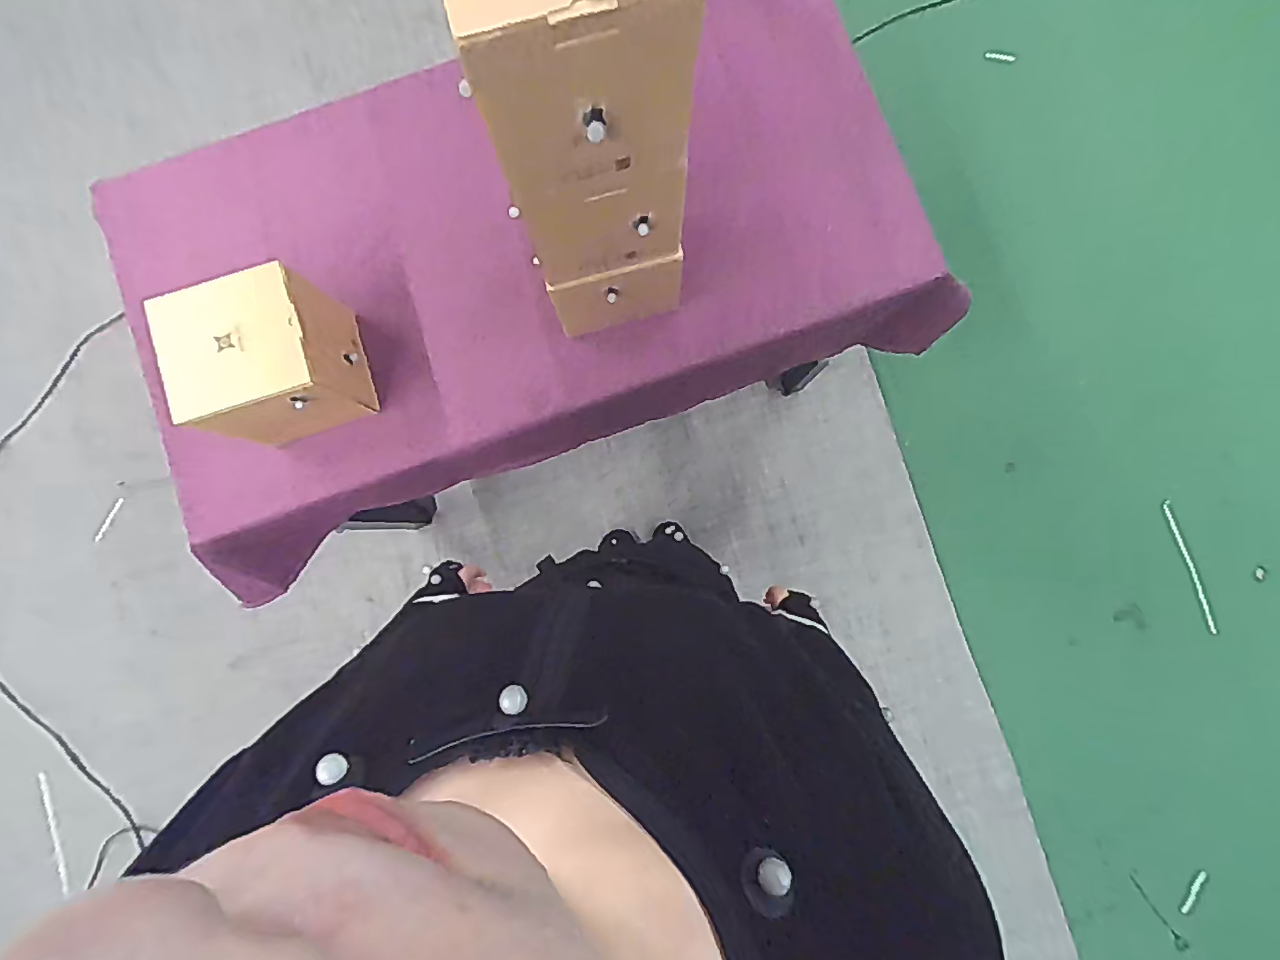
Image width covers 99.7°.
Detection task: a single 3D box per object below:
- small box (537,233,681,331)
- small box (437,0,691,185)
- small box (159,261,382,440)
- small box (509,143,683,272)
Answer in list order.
[{"bbox_3d":[-0.046,-0.325,0.751,0.179,0.176,0.168,-14,85,0],"label":"small box"},{"bbox_3d":[-0.060,-0.365,0.426,0.168,0.176,0.179,-15,85,-1],"label":"small box"},{"bbox_3d":[-0.496,-0.165,0.749,0.179,0.176,0.168,-18,84,-1],"label":"small box"},{"bbox_3d":[-0.053,-0.350,0.590,0.168,0.176,0.179,-14,83,0],"label":"small box"}]
